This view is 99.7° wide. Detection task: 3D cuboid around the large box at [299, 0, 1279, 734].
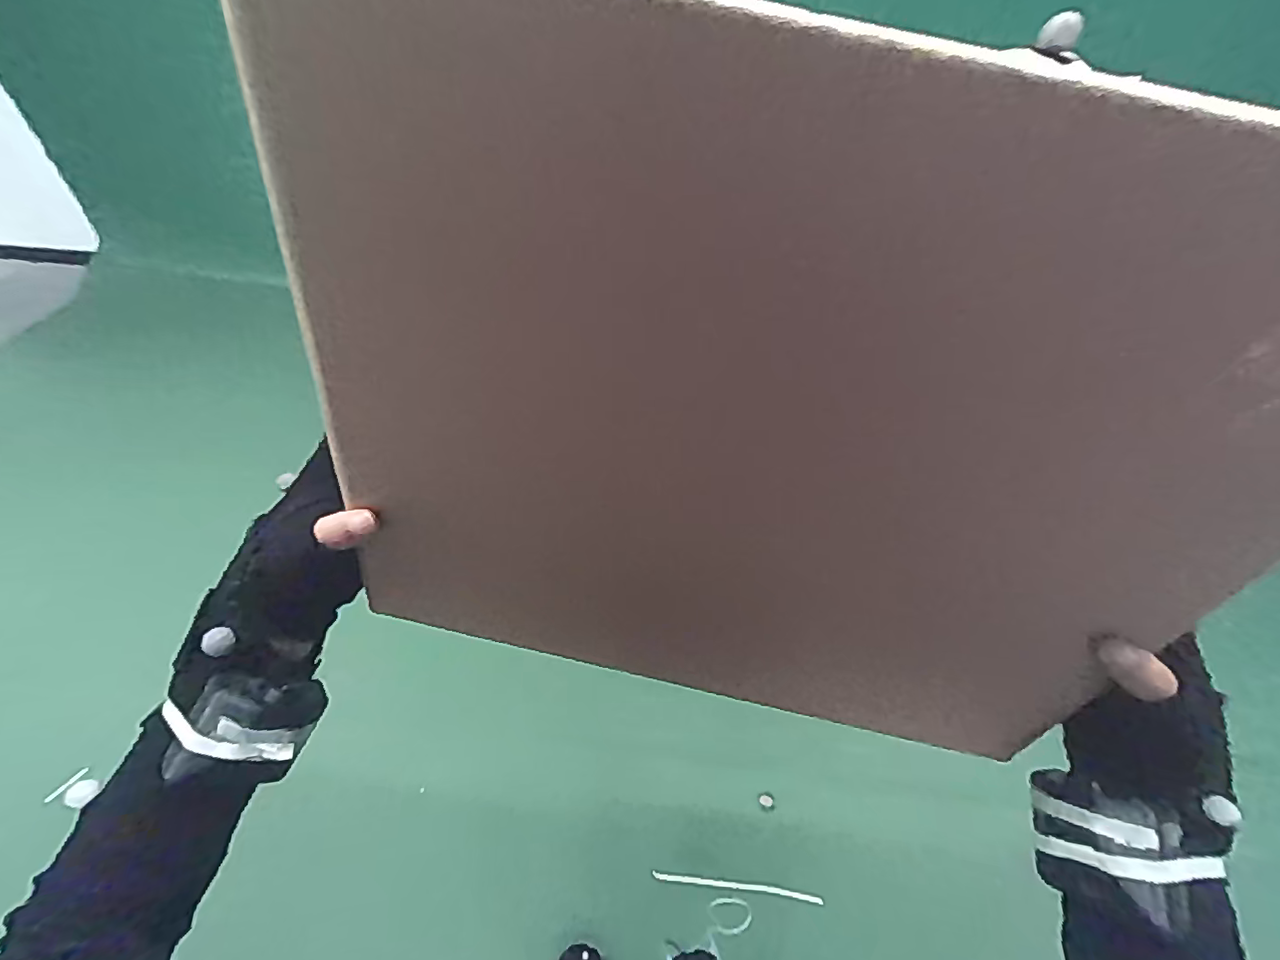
[{"bbox_3d":[0.080,-0.084,0.366,0.408,0.320,0.320,14,40,0],"label":"large box"}]
